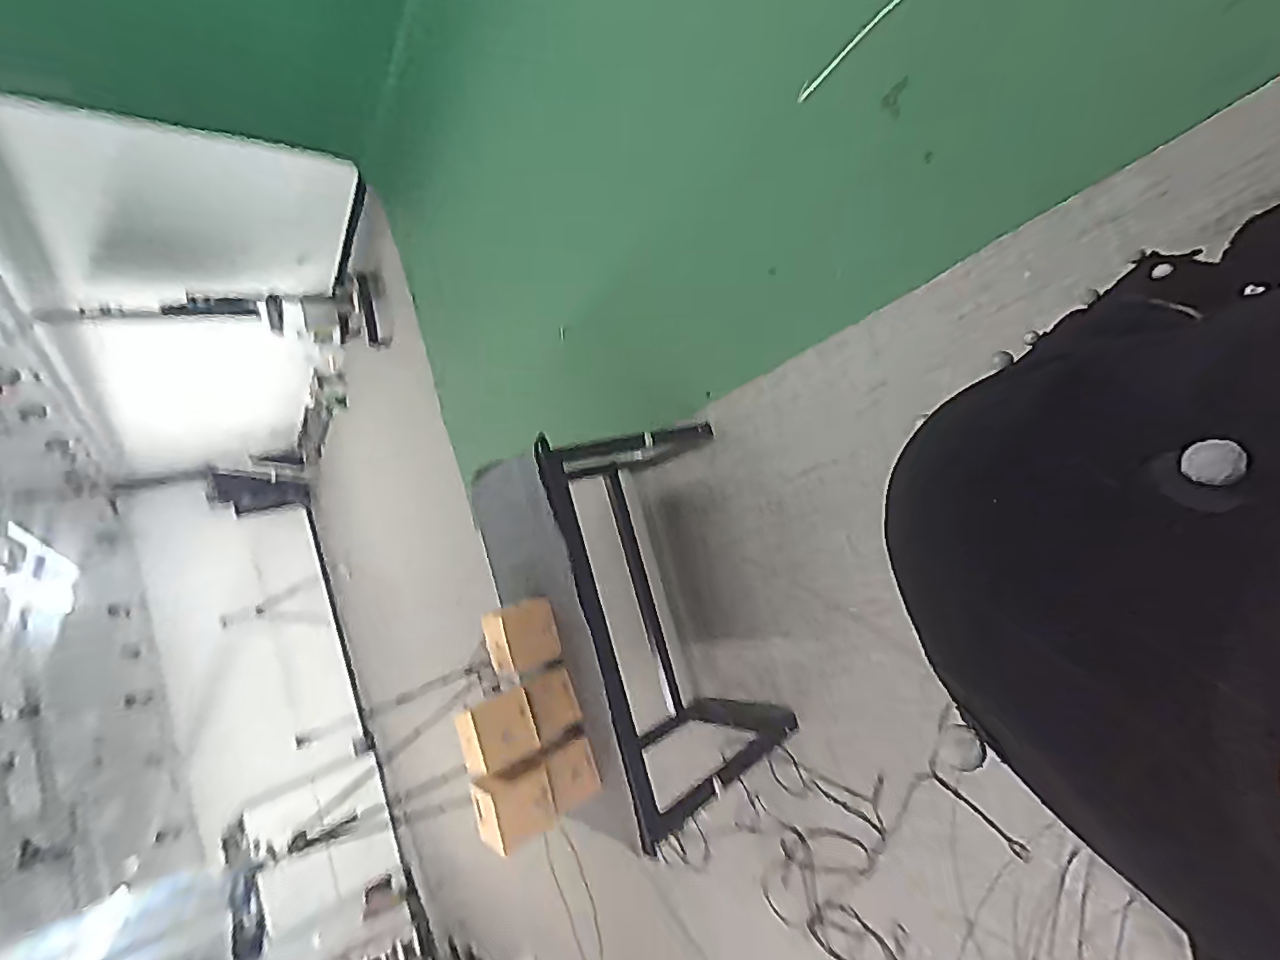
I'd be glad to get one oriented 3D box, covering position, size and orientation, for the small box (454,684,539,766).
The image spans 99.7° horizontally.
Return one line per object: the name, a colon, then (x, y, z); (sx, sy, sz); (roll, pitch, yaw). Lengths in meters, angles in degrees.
small box: (-0.411, 0.702, 1.564); (0.179, 0.176, 0.168); (-34, 73, 50)
